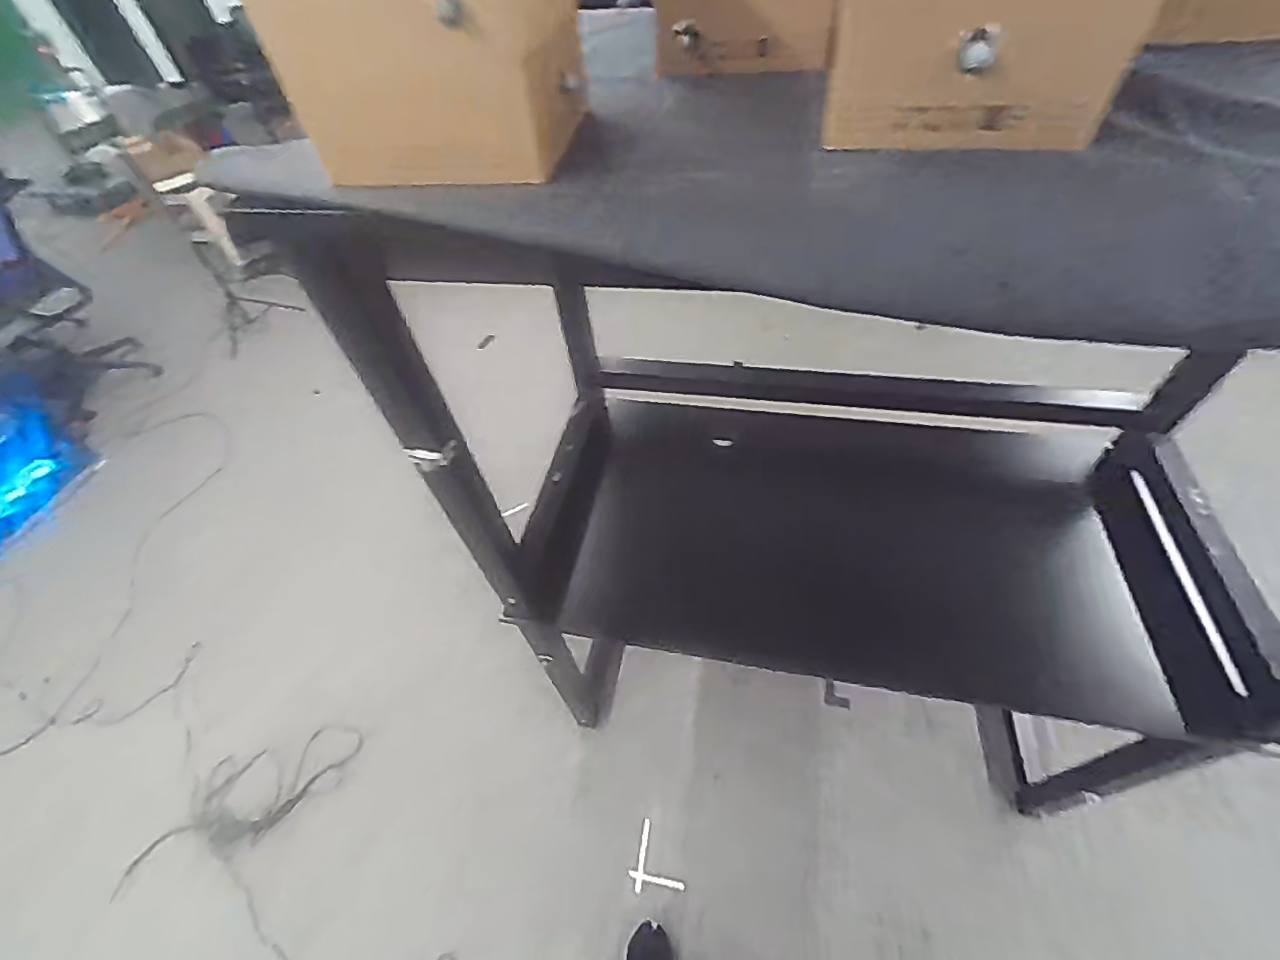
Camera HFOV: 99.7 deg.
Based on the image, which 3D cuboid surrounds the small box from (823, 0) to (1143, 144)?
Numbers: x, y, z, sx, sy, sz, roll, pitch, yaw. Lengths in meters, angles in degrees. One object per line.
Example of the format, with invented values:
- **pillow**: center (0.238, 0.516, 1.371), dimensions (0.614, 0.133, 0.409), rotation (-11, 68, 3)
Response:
- **small box**: center (0.222, -0.348, 0.360), dimensions (0.168, 0.176, 0.179), rotation (8, 51, 14)
